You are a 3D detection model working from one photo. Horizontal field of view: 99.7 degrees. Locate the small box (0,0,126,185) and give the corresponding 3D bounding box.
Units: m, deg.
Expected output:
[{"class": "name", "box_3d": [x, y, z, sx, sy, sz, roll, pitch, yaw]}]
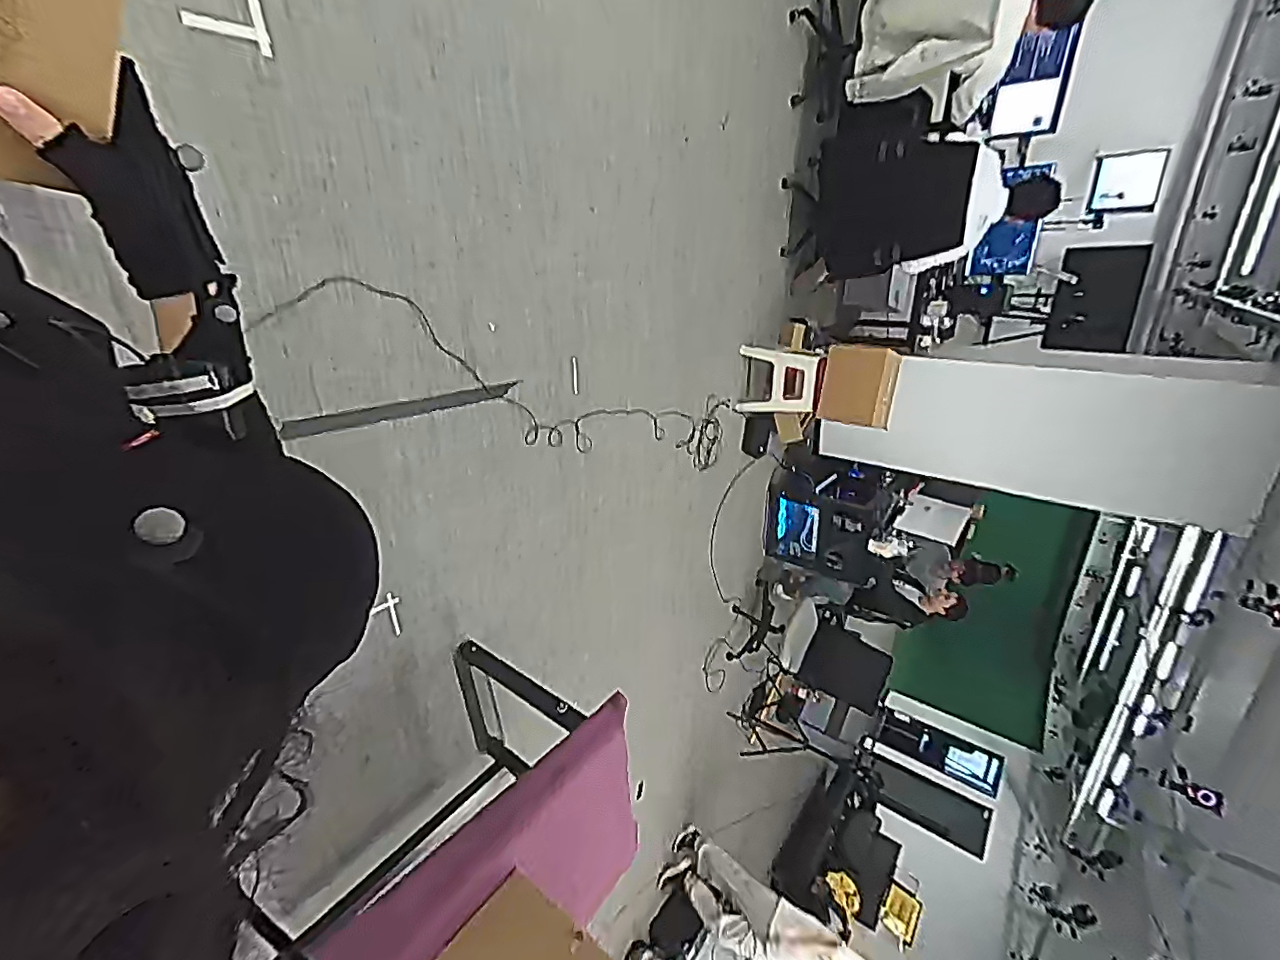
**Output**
[{"class": "small box", "box_3d": [-0.396, -0.288, 0.257, 0.168, 0.176, 0.179, -45, 168, 30]}]
